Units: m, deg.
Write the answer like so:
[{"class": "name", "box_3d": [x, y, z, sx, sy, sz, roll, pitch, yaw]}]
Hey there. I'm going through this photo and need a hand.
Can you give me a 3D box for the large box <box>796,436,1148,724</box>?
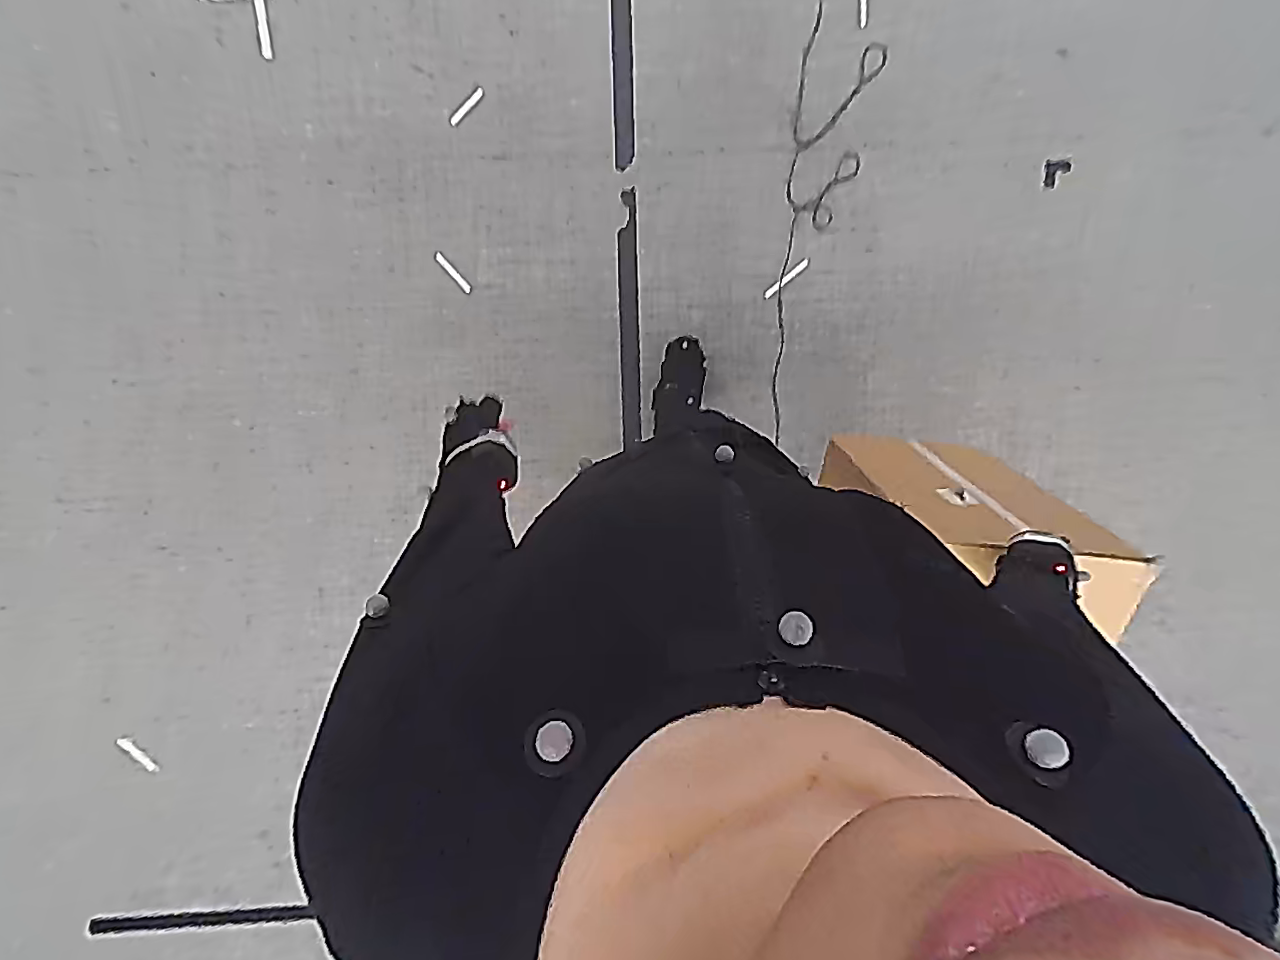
[{"class": "large box", "box_3d": [0.508, 0.149, 0.951, 0.320, 0.408, 0.320, 5, 115, -3]}]
